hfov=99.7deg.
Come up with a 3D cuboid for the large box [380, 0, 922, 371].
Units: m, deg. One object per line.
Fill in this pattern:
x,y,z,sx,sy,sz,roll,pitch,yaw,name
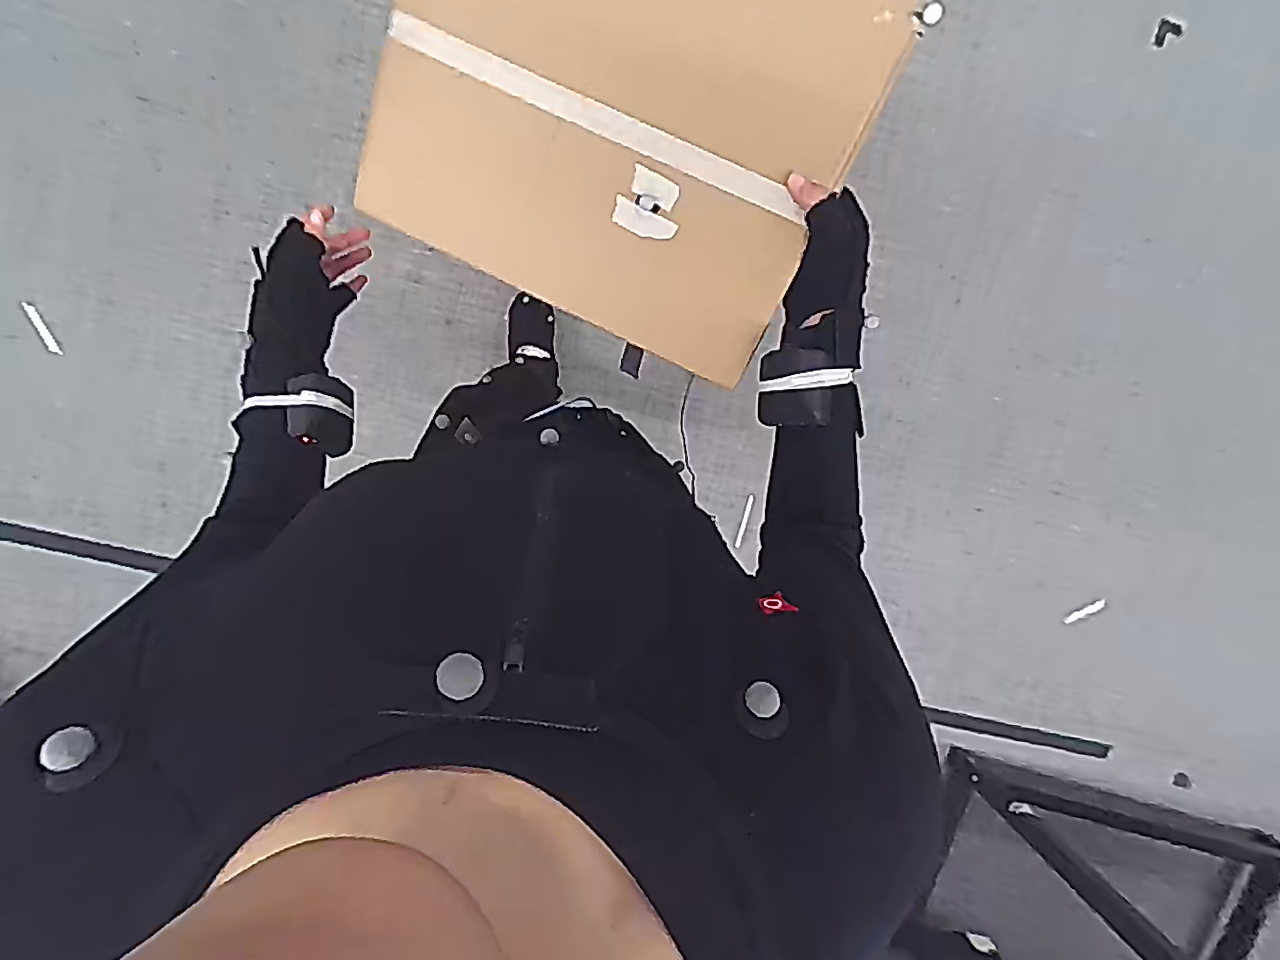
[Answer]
0.007,-0.358,0.612,0.408,0.320,0.320,27,111,3,large box
